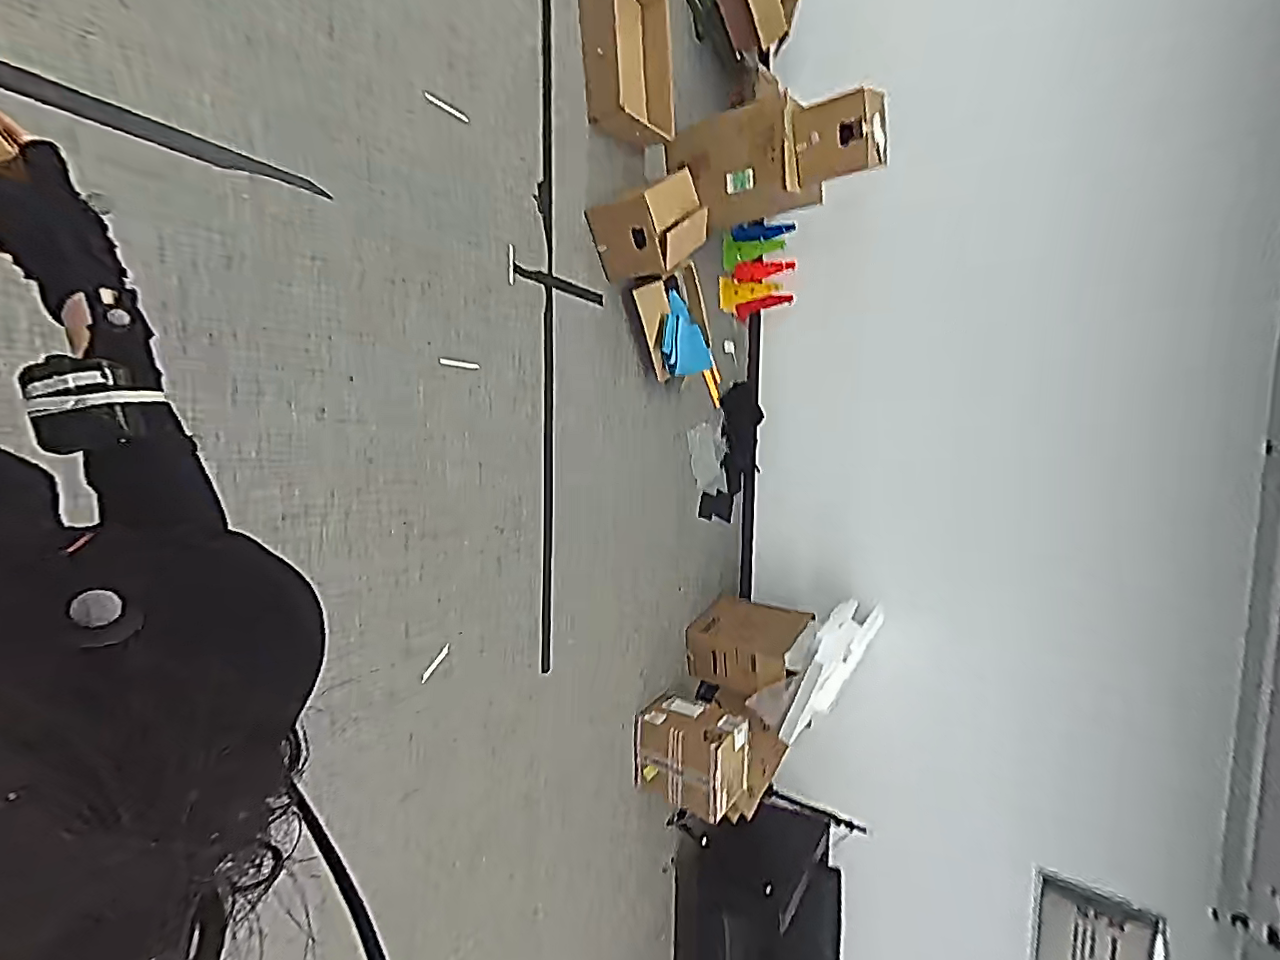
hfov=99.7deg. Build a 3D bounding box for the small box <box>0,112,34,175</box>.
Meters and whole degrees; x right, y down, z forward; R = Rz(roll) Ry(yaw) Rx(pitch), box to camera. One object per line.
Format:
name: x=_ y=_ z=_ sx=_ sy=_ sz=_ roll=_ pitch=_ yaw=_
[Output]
small box: x=-0.580 y=-0.287 z=0.343 sx=0.179 sy=0.176 sz=0.168 roll=-40 pitch=156 yaw=-23
